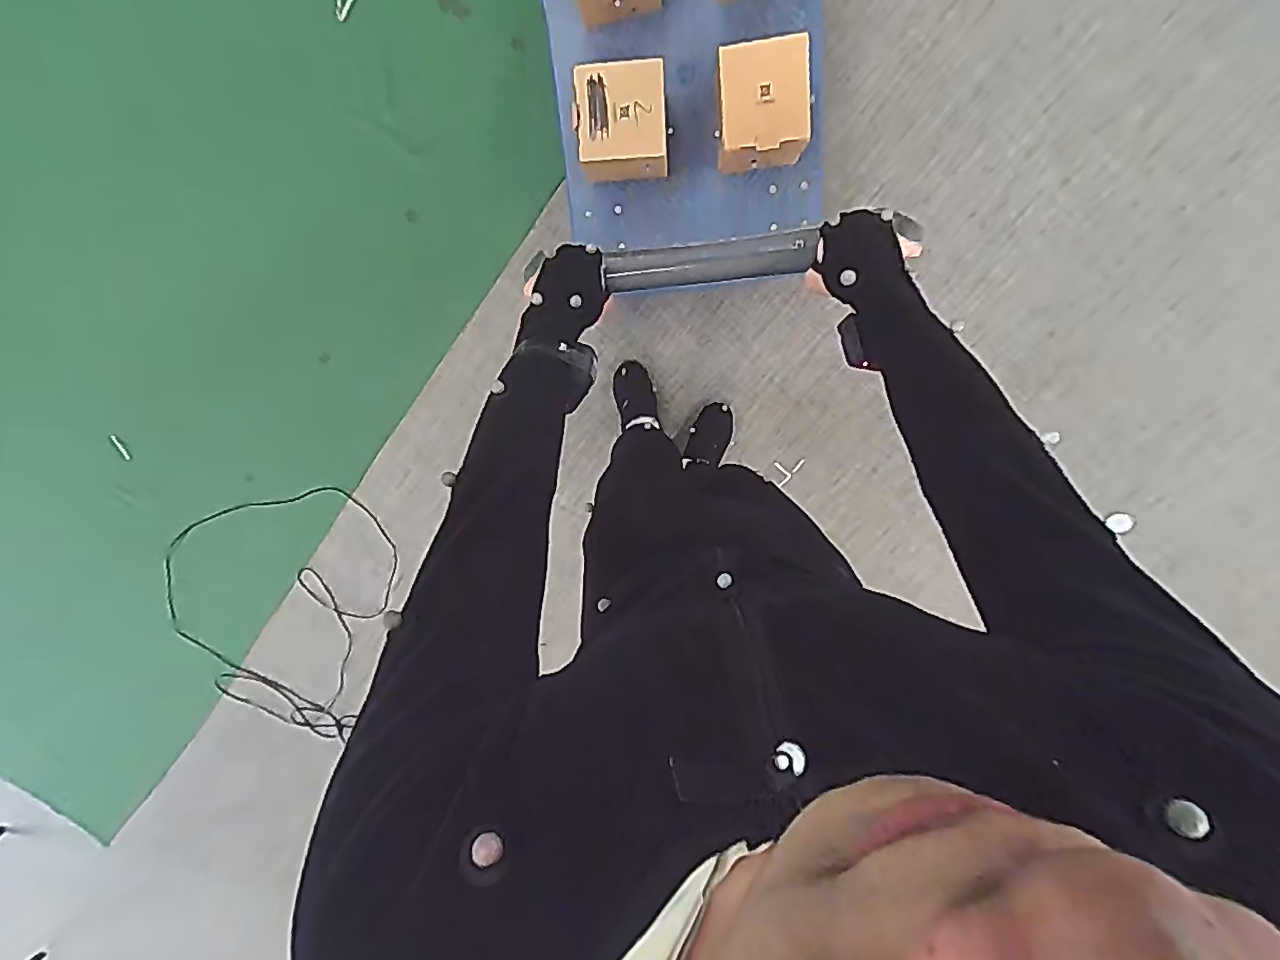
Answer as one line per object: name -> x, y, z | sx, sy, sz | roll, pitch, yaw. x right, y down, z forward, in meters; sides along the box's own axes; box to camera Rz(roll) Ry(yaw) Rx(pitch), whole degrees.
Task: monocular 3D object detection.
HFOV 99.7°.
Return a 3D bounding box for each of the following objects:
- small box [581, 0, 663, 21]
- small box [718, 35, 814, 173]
small box -> -0.048, -1.022, 1.031 | 0.168, 0.176, 0.179 | -8, 106, 6
small box -> 0.249, -0.748, 1.093 | 0.168, 0.176, 0.179 | -5, 107, 6
